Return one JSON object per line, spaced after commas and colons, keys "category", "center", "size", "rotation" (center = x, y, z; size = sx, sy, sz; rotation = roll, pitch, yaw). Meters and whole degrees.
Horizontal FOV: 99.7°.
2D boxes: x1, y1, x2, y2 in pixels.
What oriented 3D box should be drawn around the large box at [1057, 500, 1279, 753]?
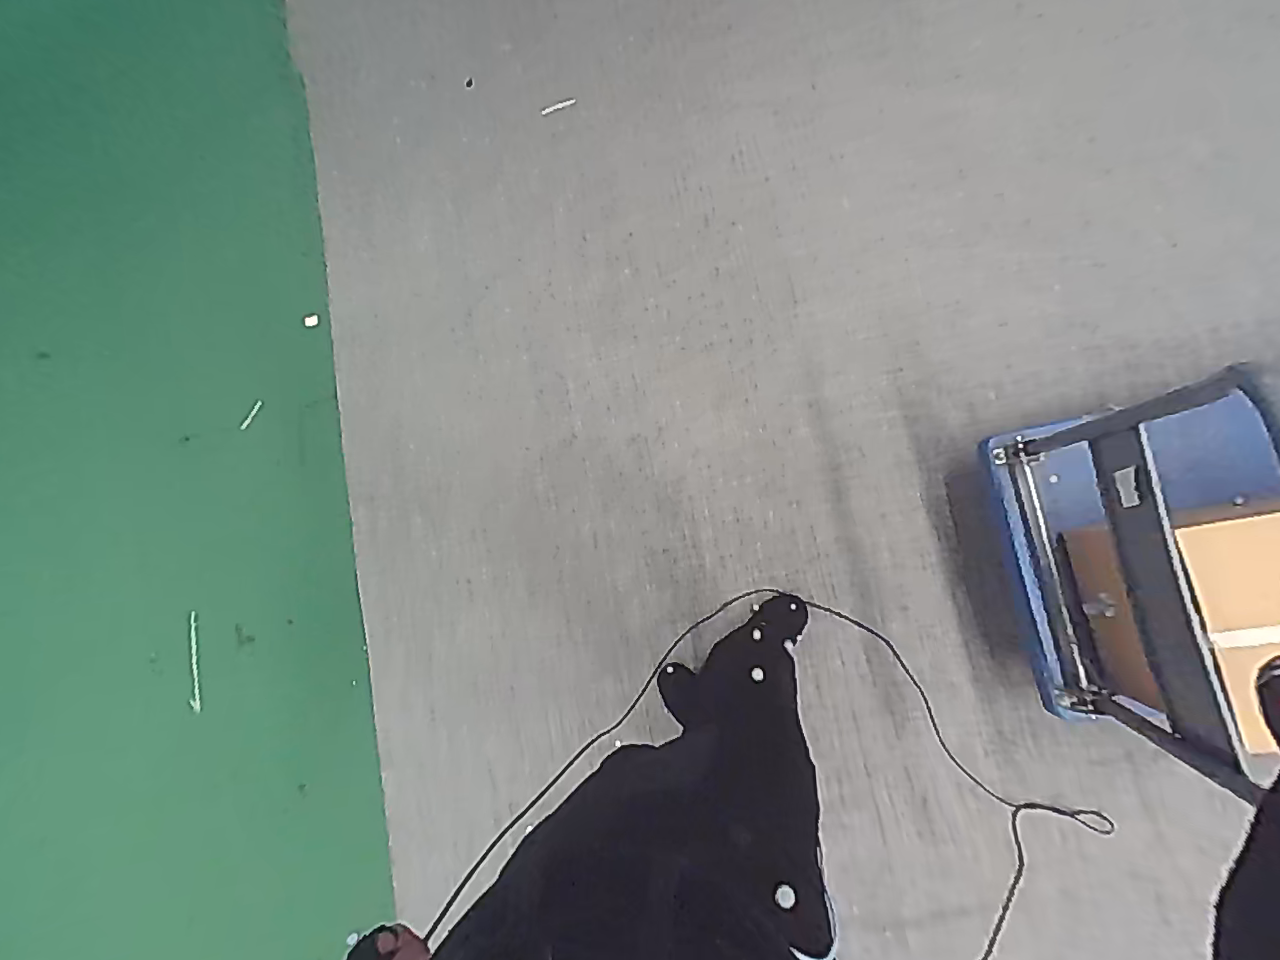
{"category": "large box", "center": [1.012, 0.206, 0.876], "size": [0.408, 0.320, 0.320], "rotation": [-12, 82, 11]}
